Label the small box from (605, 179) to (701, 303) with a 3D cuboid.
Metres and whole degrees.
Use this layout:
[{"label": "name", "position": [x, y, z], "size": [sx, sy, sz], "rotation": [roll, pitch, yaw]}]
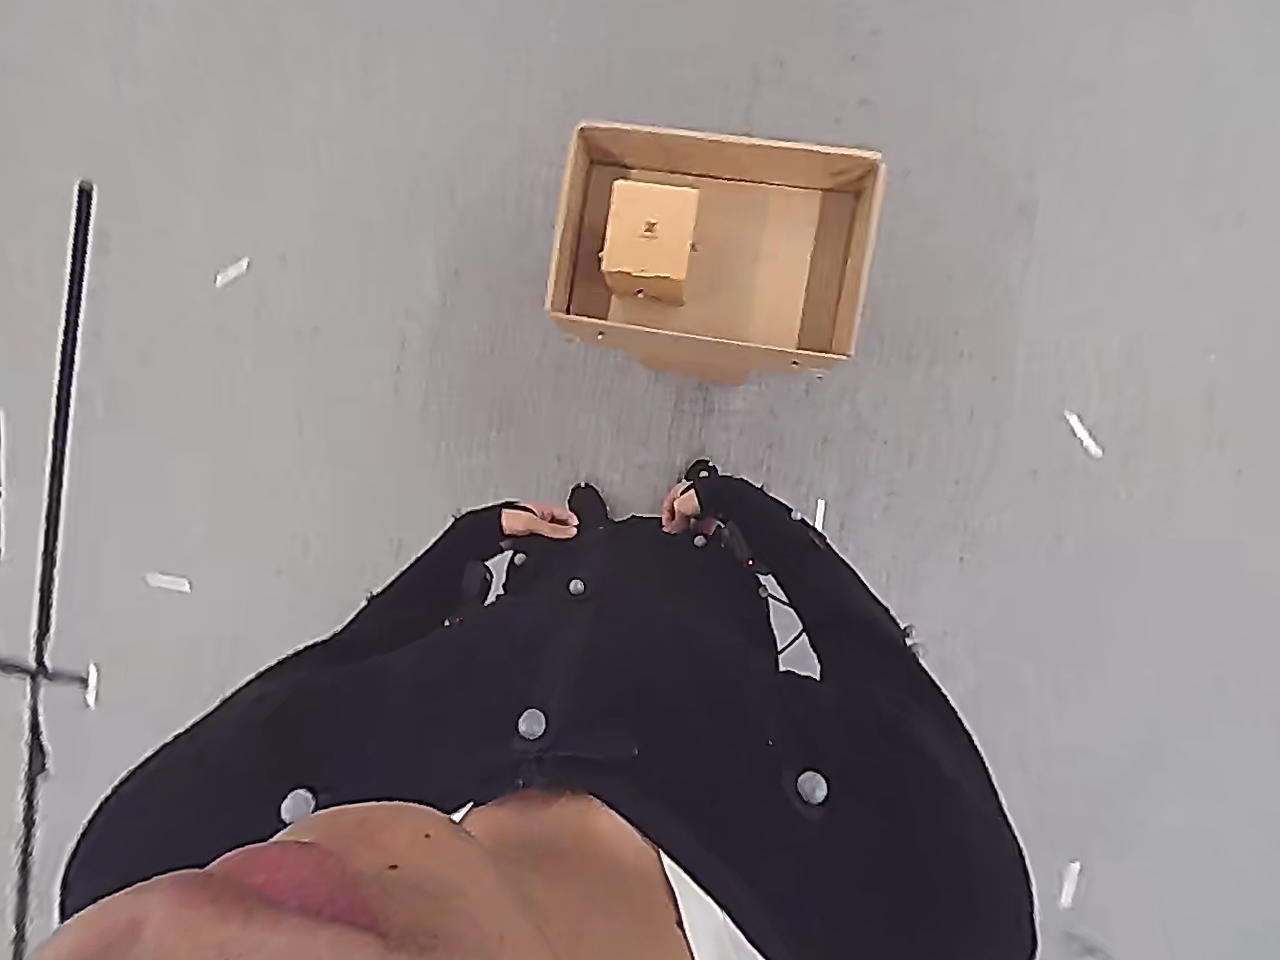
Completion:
[{"label": "small box", "position": [0.028, -0.488, 1.123], "size": [0.168, 0.176, 0.179], "rotation": [9, 93, 4]}]
